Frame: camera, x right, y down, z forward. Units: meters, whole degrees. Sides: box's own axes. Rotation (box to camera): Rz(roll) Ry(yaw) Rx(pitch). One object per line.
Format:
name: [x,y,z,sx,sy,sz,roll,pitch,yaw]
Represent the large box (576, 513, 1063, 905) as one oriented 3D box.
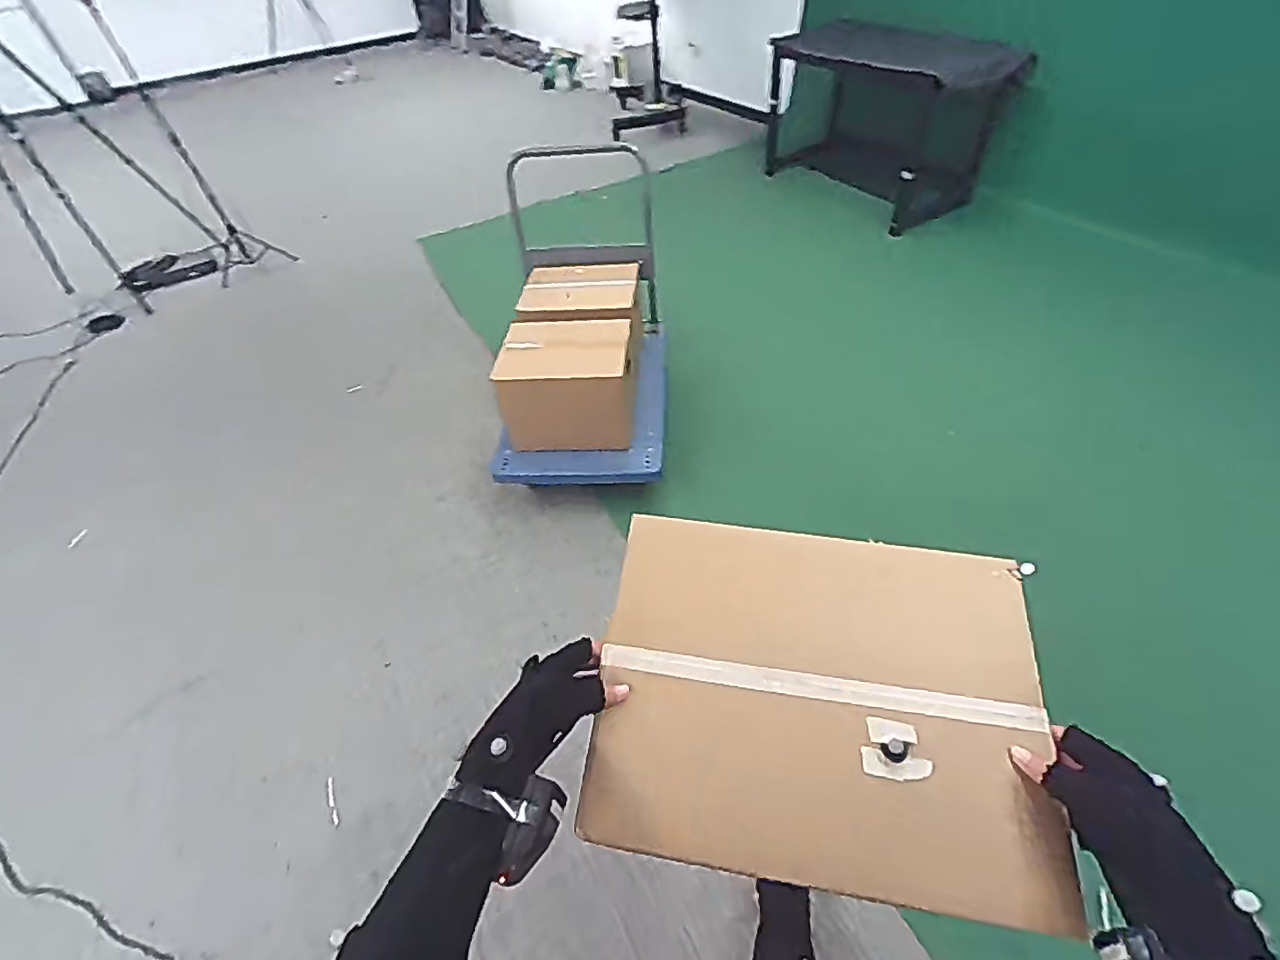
large box: [0.163,0.262,0.646,0.408,0.320,0.320,6,60,6]
